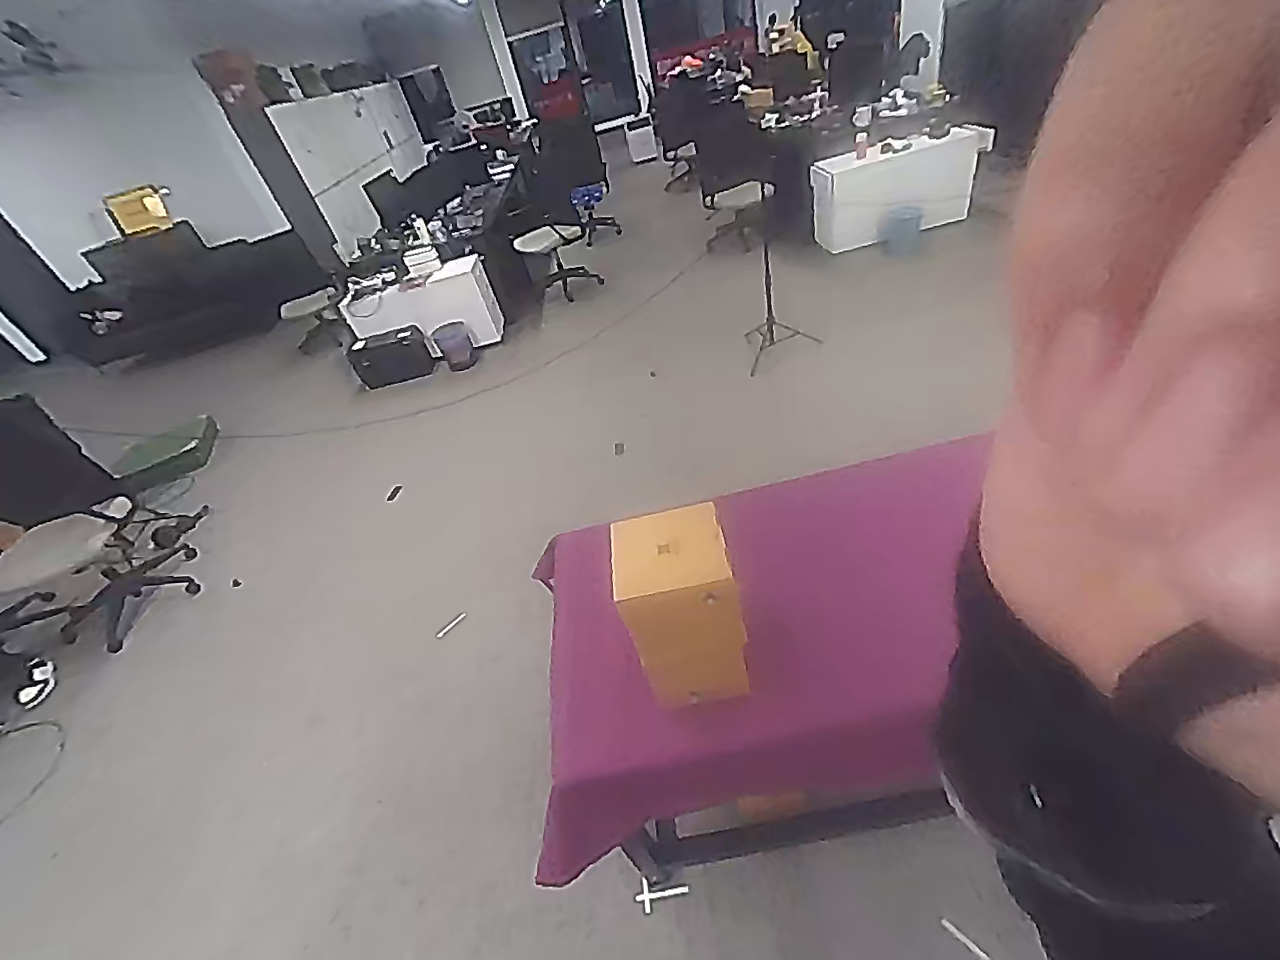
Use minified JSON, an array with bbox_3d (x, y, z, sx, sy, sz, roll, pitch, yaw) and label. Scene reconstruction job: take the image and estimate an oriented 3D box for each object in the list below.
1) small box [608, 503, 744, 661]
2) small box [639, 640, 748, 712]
[{"bbox_3d":[0.056,0.166,0.865,0.179,0.176,0.168,-13,39,6],"label":"small box"},{"bbox_3d":[0.090,0.284,0.972,0.168,0.176,0.179,-14,40,5],"label":"small box"}]
